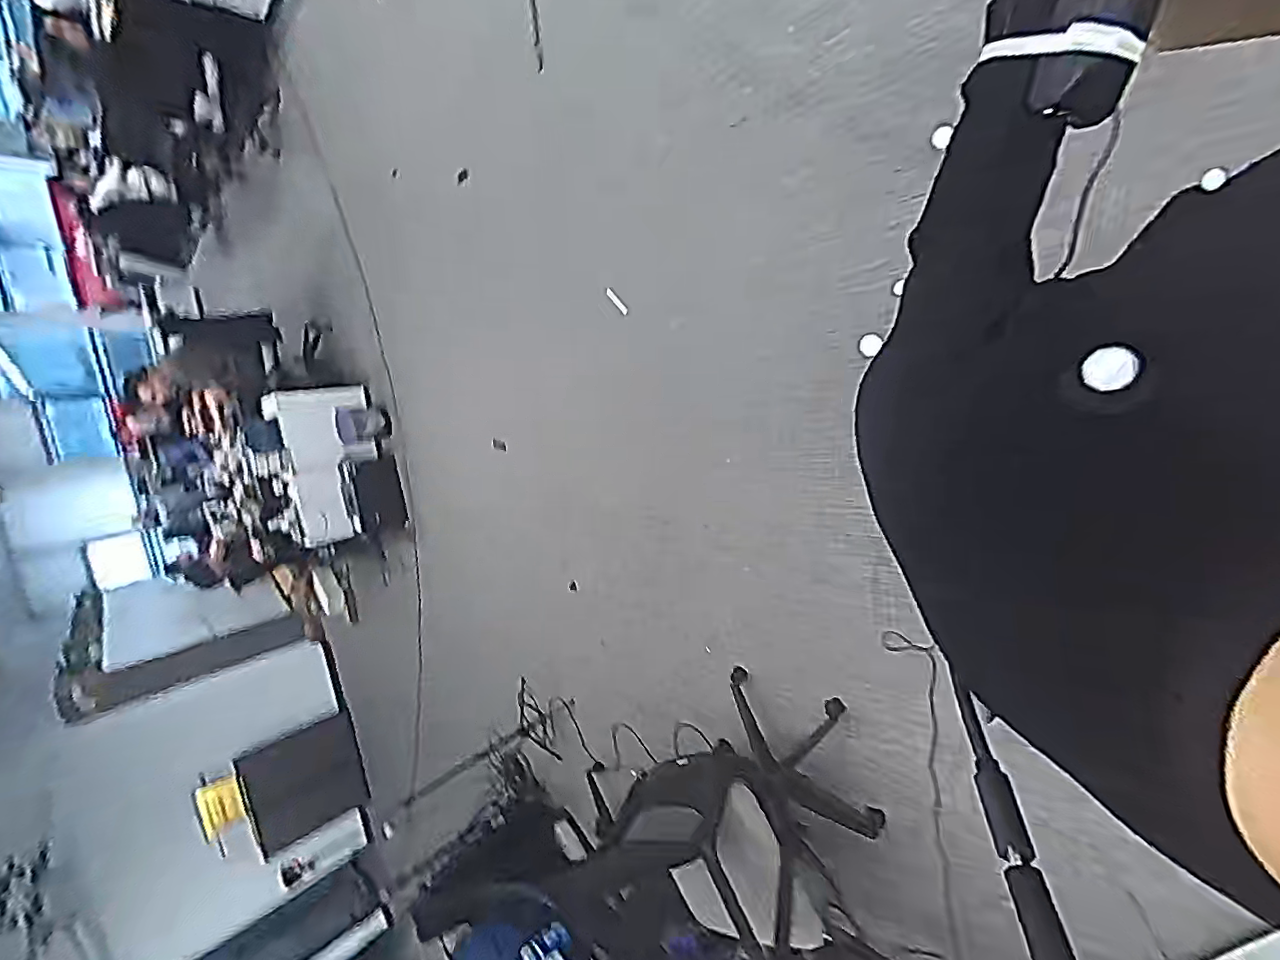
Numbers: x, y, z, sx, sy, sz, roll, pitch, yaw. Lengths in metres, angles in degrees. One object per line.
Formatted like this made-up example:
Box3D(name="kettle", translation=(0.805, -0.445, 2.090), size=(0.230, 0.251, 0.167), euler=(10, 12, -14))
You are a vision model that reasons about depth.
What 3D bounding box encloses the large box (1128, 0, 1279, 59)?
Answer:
Box3D(name="large box", translation=(0.539, -0.453, 0.254), size=(0.408, 0.320, 0.320), euler=(20, 125, 38))
